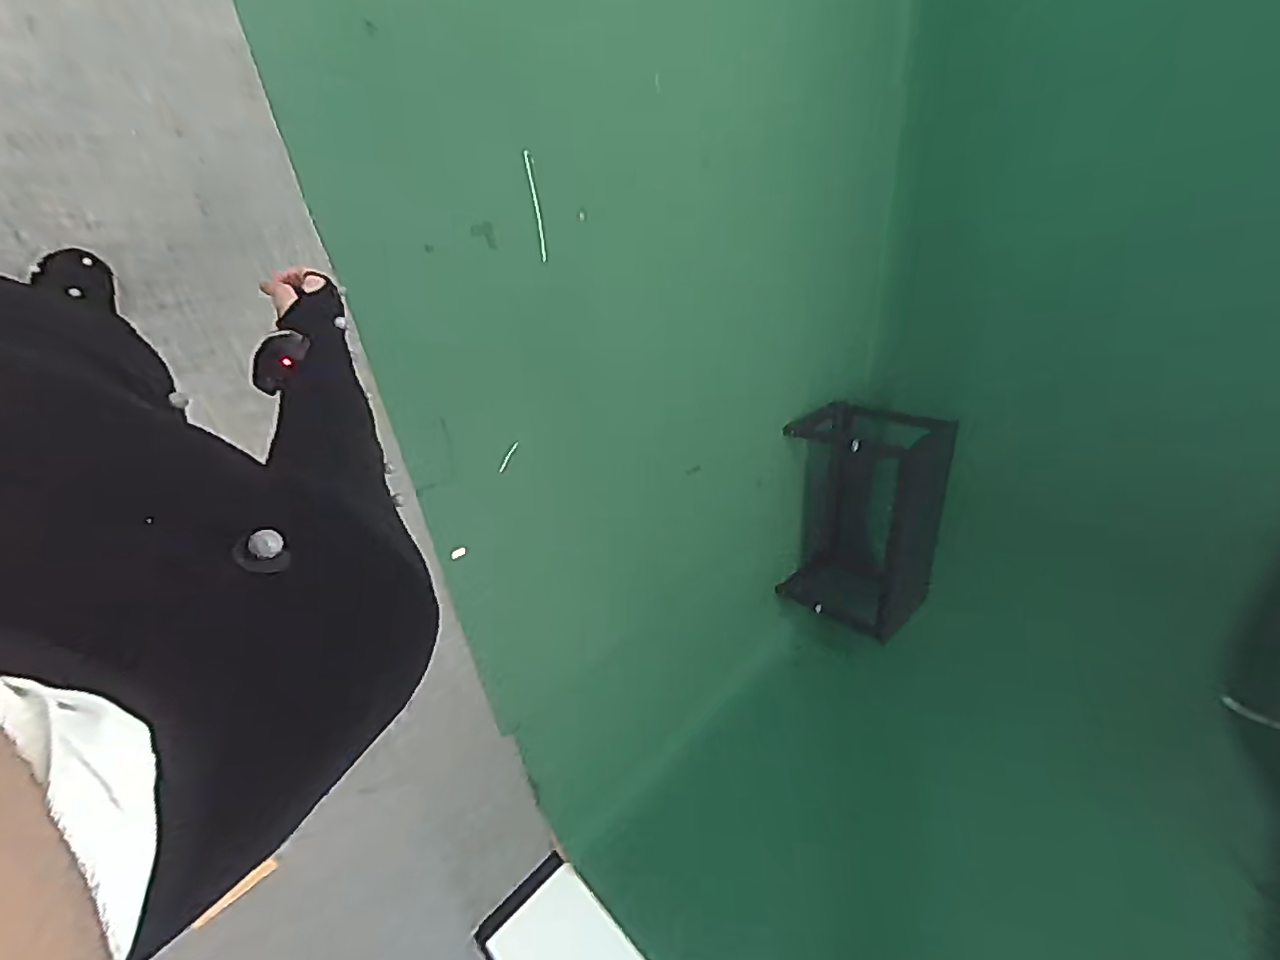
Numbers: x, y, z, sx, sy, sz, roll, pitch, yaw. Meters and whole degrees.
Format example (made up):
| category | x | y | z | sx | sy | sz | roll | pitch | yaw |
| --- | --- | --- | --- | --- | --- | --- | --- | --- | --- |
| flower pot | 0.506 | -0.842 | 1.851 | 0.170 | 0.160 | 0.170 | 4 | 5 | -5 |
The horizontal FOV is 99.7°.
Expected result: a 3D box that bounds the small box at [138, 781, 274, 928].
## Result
| category | x | y | z | sx | sy | sz | roll | pitch | yaw |
| --- | --- | --- | --- | --- | --- | --- | --- | --- | --- |
| small box | -0.940 | 0.796 | 1.170 | 0.168 | 0.176 | 0.179 | -32 | 127 | -33 |
